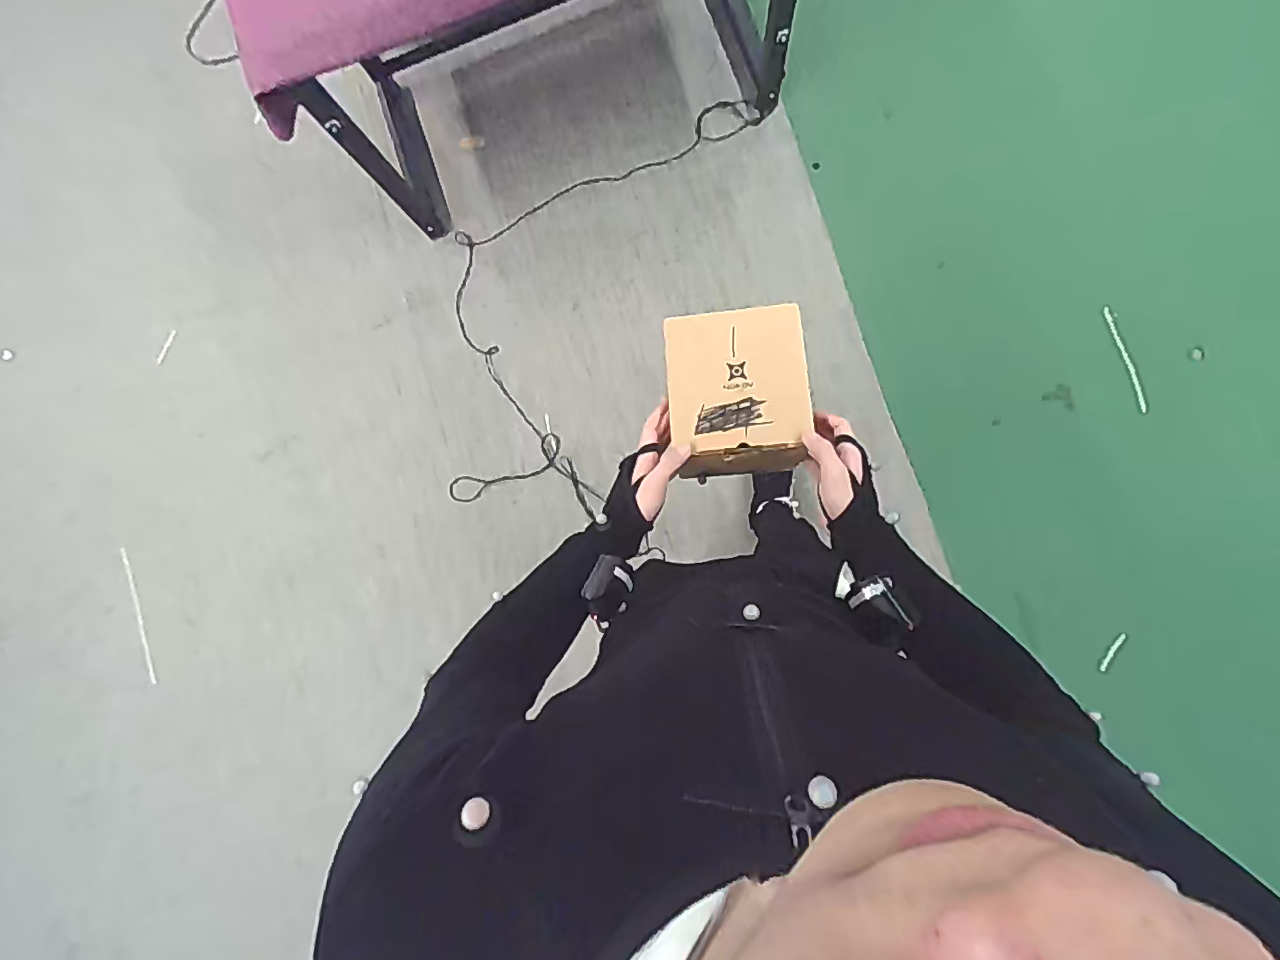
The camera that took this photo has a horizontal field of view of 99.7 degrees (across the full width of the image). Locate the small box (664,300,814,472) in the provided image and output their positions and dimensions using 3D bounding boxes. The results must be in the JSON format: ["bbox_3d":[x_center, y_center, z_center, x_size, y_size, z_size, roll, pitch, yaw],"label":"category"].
[{"bbox_3d":[0.125,-0.110,0.713,0.168,0.176,0.179,-5,79,6],"label":"small box"}]

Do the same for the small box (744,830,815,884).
[{"bbox_3d":[0.376,1.062,1.411,0.168,0.176,0.179,-14,86,5],"label":"small box"}]

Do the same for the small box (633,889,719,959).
[{"bbox_3d":[0.091,1.120,1.275,0.168,0.176,0.179,-14,84,5],"label":"small box"}]
